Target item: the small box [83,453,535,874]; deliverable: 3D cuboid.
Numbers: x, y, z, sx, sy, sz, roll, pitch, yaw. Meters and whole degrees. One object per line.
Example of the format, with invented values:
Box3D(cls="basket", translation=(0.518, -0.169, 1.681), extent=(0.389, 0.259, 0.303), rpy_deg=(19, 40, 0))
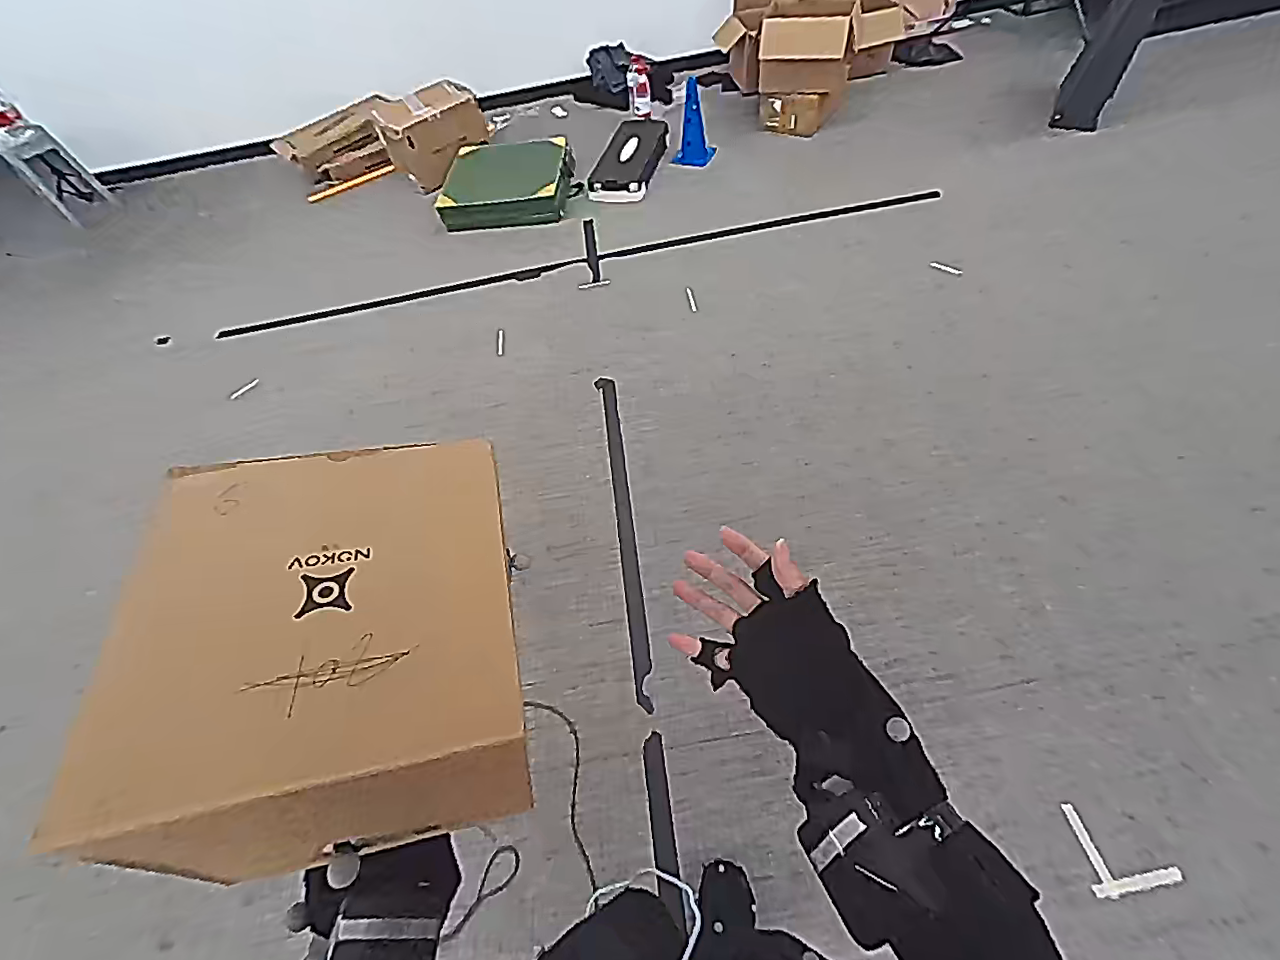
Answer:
Box3D(cls="small box", translation=(-0.157, 0.108, 0.328), extent=(0.168, 0.176, 0.179), rpy_deg=(-6, 52, -15))
